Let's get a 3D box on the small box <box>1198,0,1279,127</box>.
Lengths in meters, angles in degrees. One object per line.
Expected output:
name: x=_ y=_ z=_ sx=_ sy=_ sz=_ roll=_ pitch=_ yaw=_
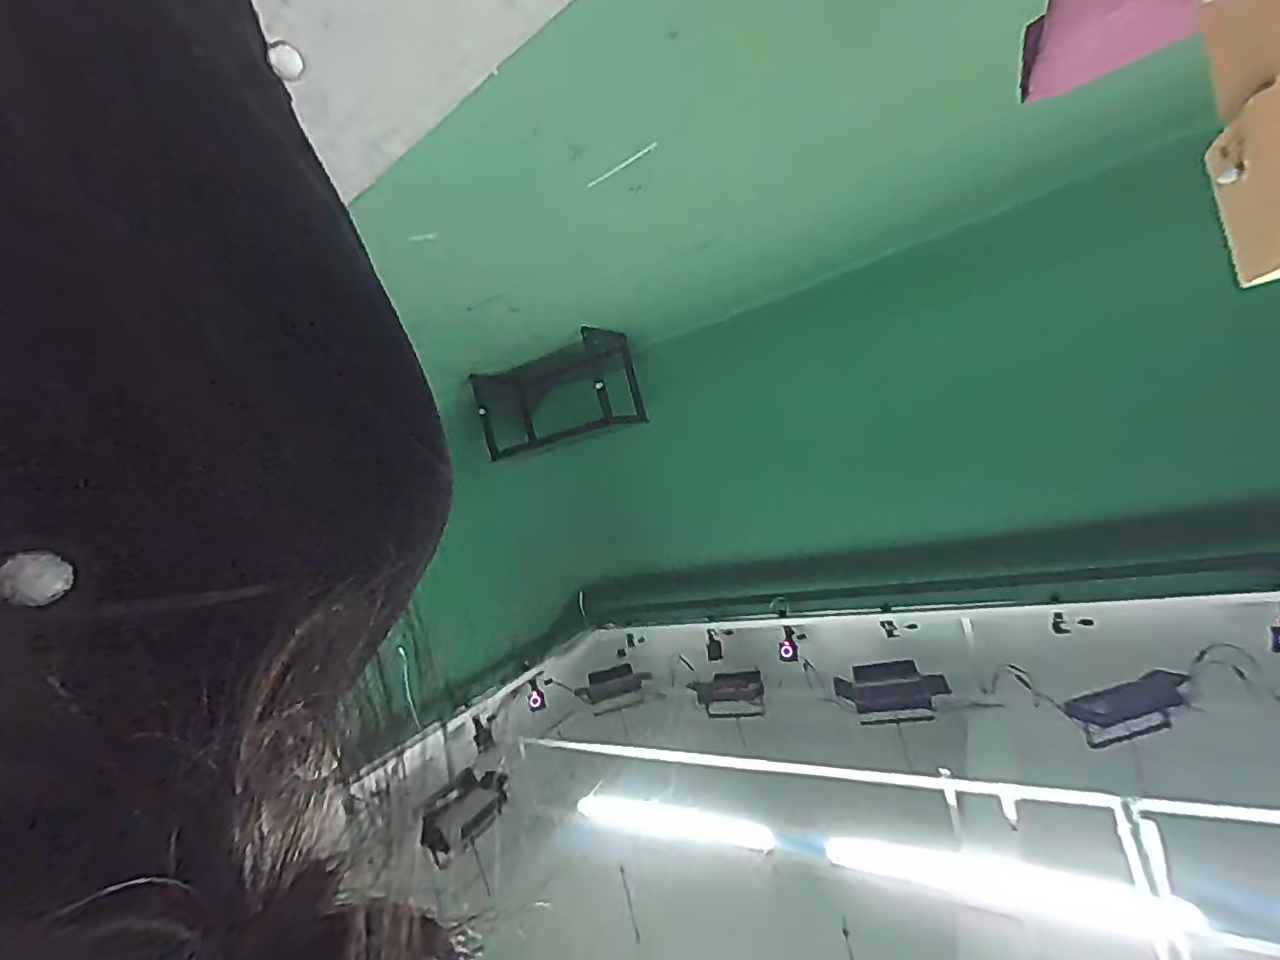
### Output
small box: x=0.671 y=-0.473 z=0.494 sx=0.179 sy=0.176 sz=0.168 roll=-15 pitch=179 yaw=35

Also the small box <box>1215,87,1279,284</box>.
small box: x=0.712 y=-0.315 z=0.515 sx=0.179 sy=0.176 sz=0.168 roll=-15 pitch=179 yaw=35
